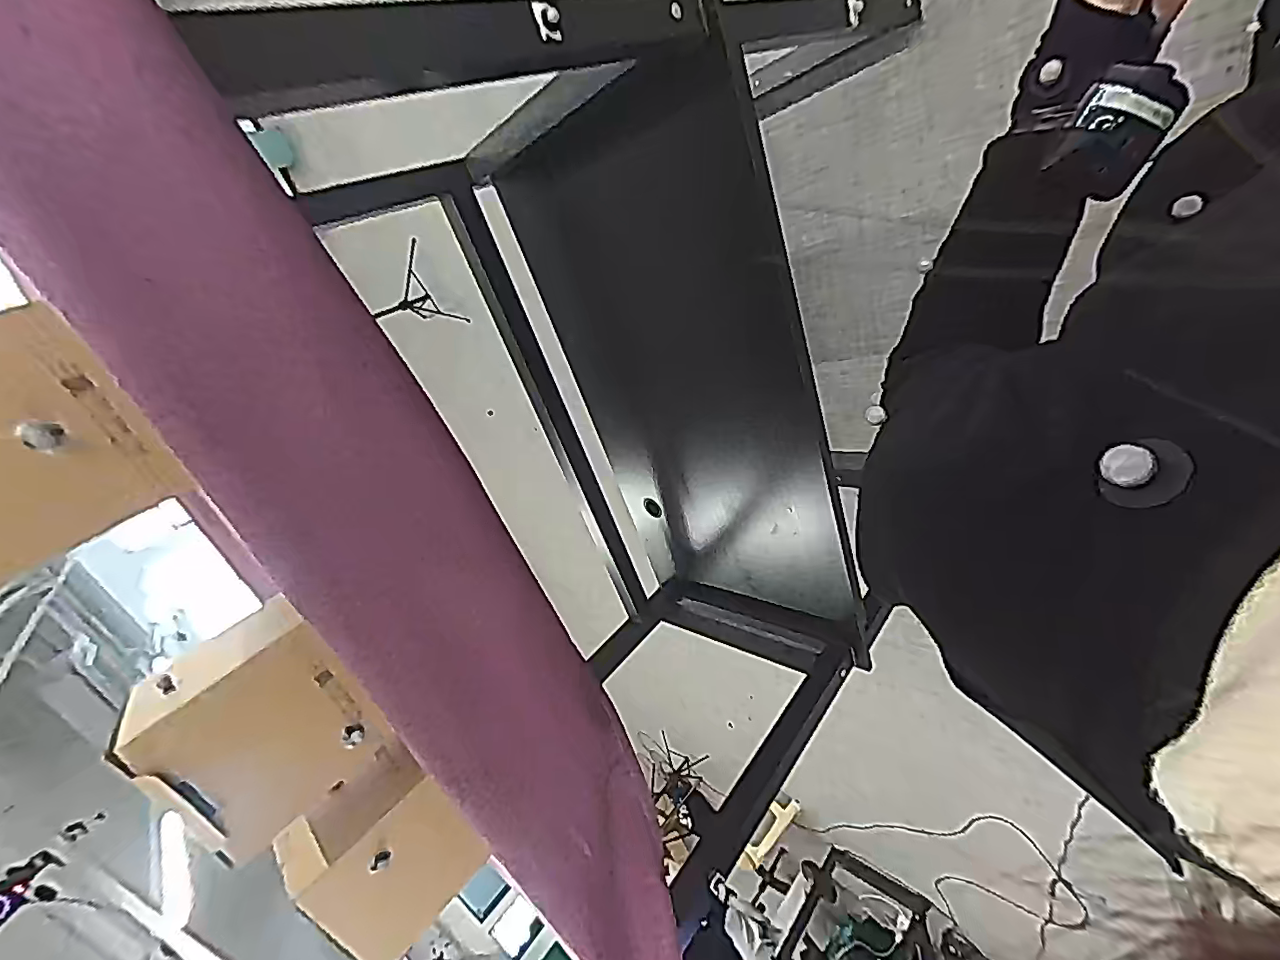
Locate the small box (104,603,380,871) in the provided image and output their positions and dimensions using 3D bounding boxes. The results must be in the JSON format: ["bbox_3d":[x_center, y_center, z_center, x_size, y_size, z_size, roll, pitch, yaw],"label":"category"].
[{"bbox_3d":[-0.414,0.256,0.586,0.179,0.176,0.168,1,123,50],"label":"small box"}]

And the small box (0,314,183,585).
[{"bbox_3d":[-0.517,-0.022,0.436,0.179,0.176,0.168,11,131,45],"label":"small box"}]

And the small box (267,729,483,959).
[{"bbox_3d":[-0.337,0.461,0.694,0.168,0.176,0.179,7,128,47],"label":"small box"}]
